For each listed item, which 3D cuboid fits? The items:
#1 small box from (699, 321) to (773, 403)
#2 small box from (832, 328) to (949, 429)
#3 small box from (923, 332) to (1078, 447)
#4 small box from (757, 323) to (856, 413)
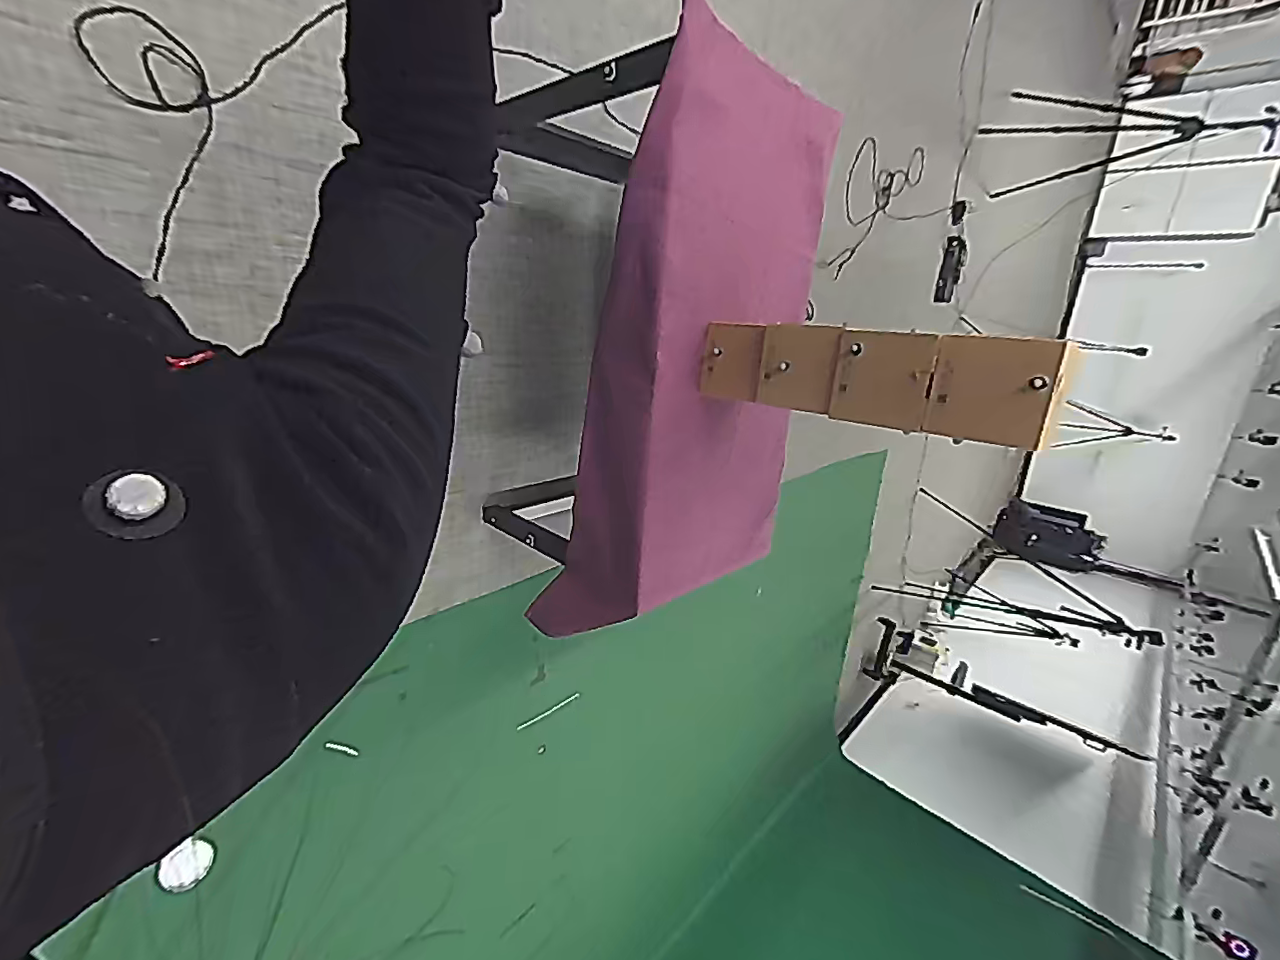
[{"bbox_3d":[0.261,-0.270,1.240,0.179,0.176,0.168,-8,109,-45],"label":"small box"},{"bbox_3d":[0.479,-0.190,1.008,0.179,0.176,0.168,-10,110,-46],"label":"small box"},{"bbox_3d":[0.600,-0.153,0.903,0.179,0.176,0.168,-8,109,-47],"label":"small box"},{"bbox_3d":[0.368,-0.234,1.121,0.179,0.176,0.168,-10,110,-45],"label":"small box"}]
